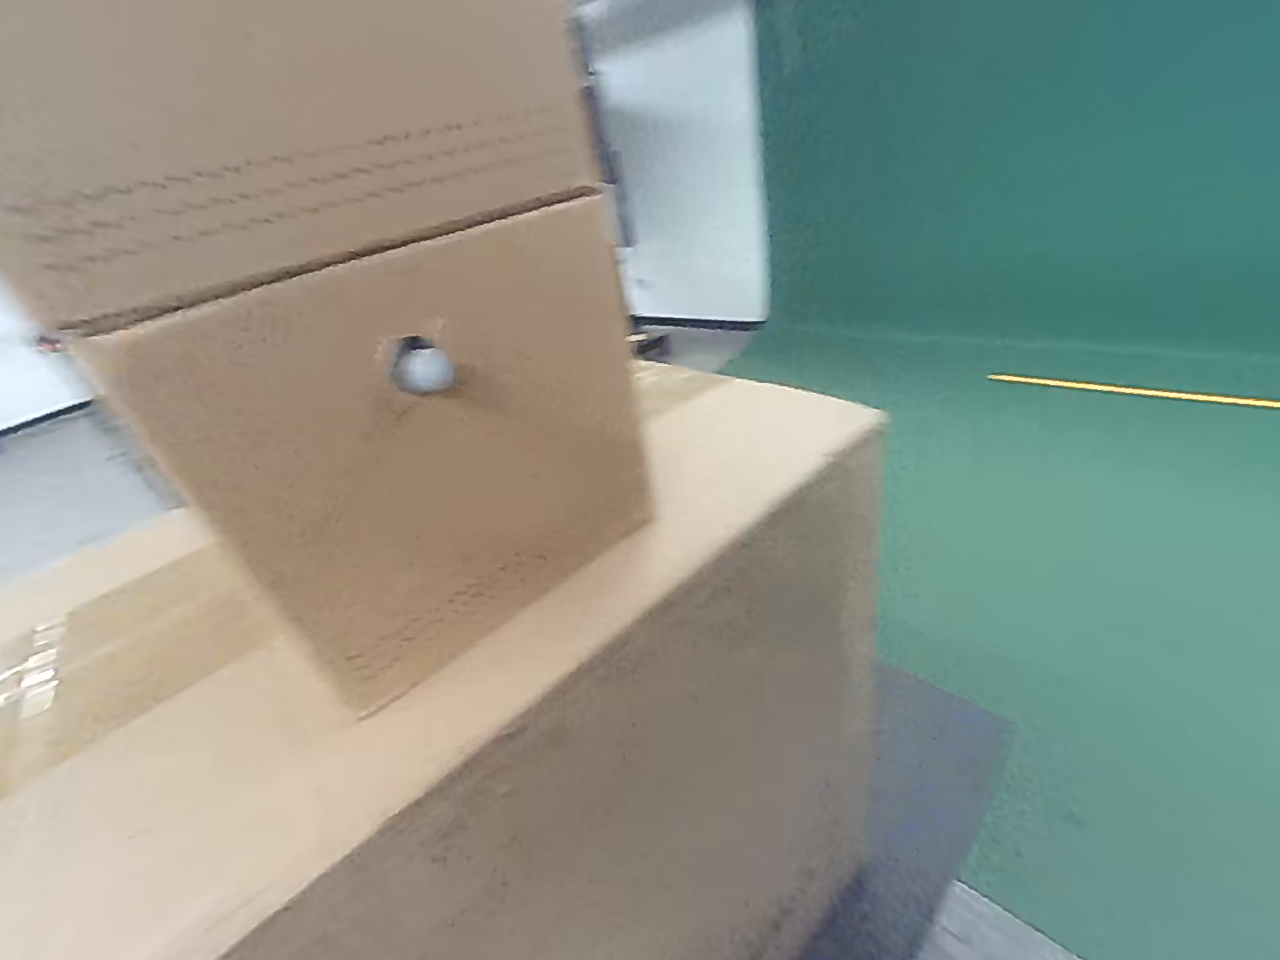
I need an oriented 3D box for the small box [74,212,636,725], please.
[{"bbox_3d":[-0.117,-0.025,0.274,0.179,0.176,0.168,-33,40,-29],"label":"small box"}]
